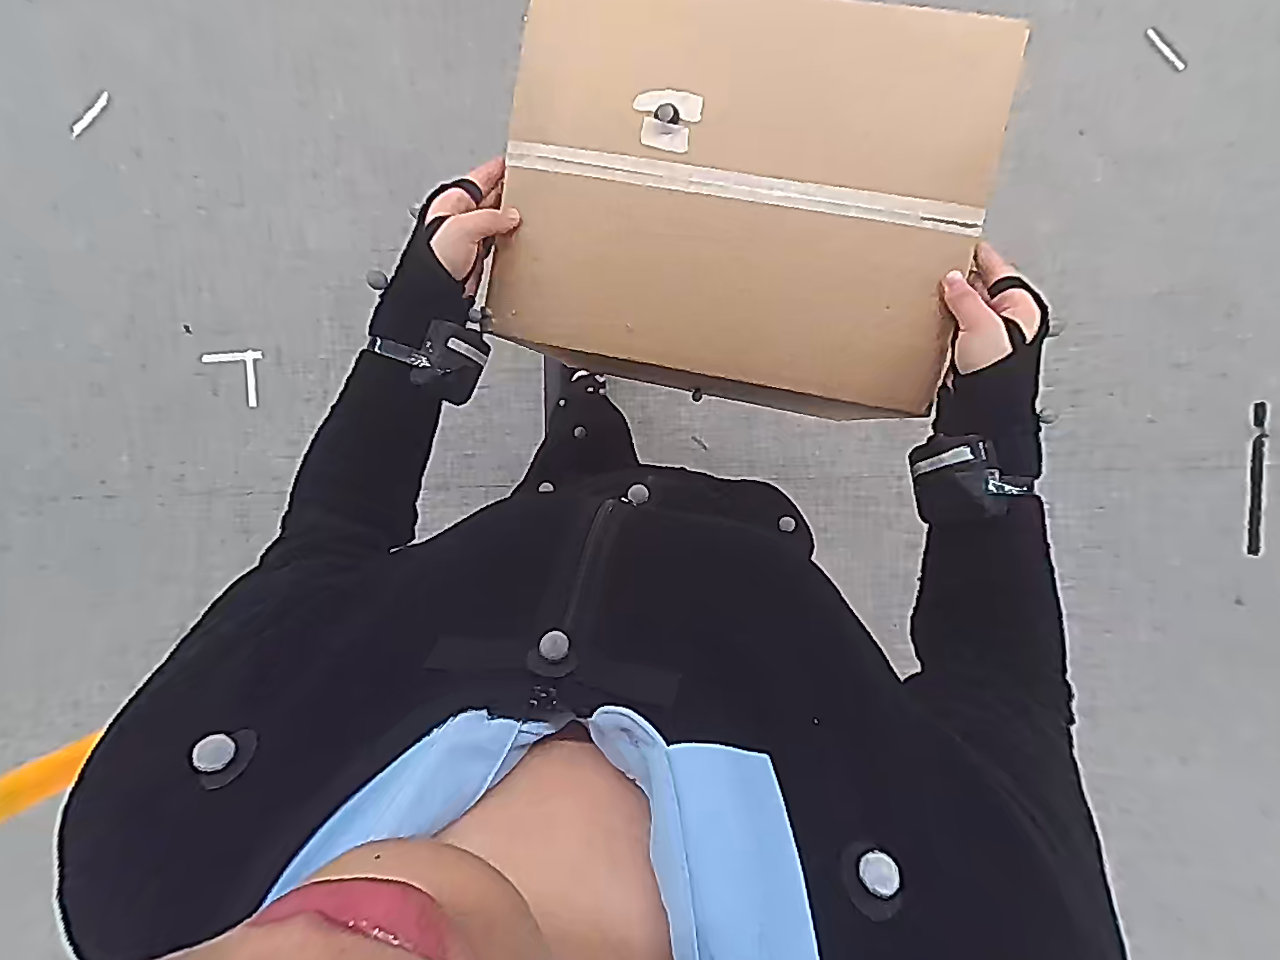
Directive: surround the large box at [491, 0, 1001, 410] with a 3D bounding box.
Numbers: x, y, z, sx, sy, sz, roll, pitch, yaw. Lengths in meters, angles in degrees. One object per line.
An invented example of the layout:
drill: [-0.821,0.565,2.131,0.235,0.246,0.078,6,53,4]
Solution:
large box: [0.097,-0.265,0.622,0.408,0.320,0.320,11,95,6]
